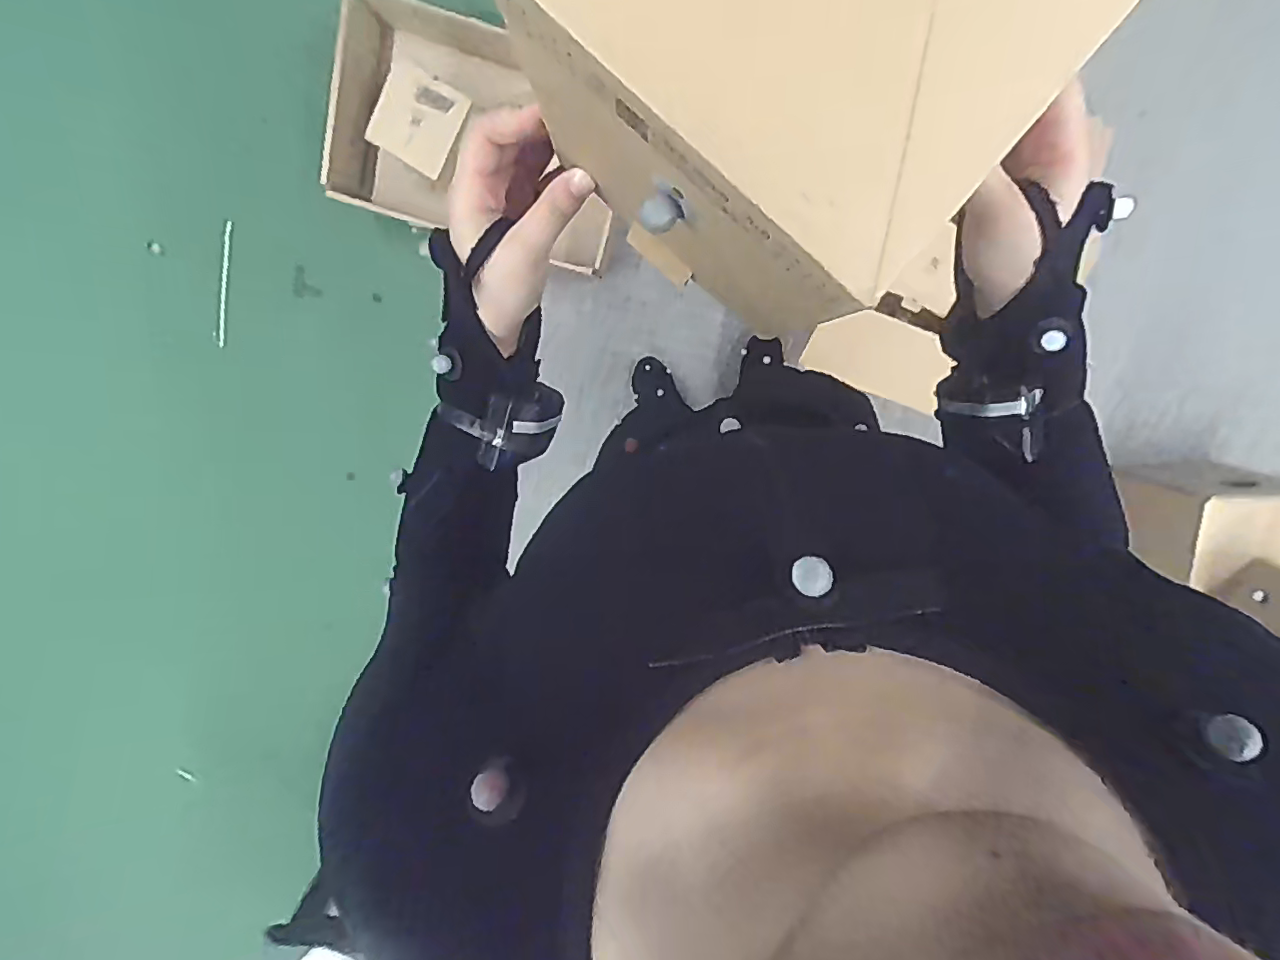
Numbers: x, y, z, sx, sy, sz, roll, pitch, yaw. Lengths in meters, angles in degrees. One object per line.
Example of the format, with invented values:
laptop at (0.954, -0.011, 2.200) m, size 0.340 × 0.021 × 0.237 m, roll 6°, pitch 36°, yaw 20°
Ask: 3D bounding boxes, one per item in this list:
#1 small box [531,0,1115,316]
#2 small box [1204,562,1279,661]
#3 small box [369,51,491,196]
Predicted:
small box at (0.074, -0.199, 0.239) m, size 0.168 × 0.176 × 0.179 m, roll 38°, pitch 98°, yaw -7°
small box at (1.409, 0.299, 1.169) m, size 0.179 × 0.176 × 0.168 m, roll 36°, pitch 103°, yaw -6°
small box at (-0.442, -0.756, 1.170) m, size 0.168 × 0.176 × 0.179 m, roll 30°, pitch 103°, yaw -8°
